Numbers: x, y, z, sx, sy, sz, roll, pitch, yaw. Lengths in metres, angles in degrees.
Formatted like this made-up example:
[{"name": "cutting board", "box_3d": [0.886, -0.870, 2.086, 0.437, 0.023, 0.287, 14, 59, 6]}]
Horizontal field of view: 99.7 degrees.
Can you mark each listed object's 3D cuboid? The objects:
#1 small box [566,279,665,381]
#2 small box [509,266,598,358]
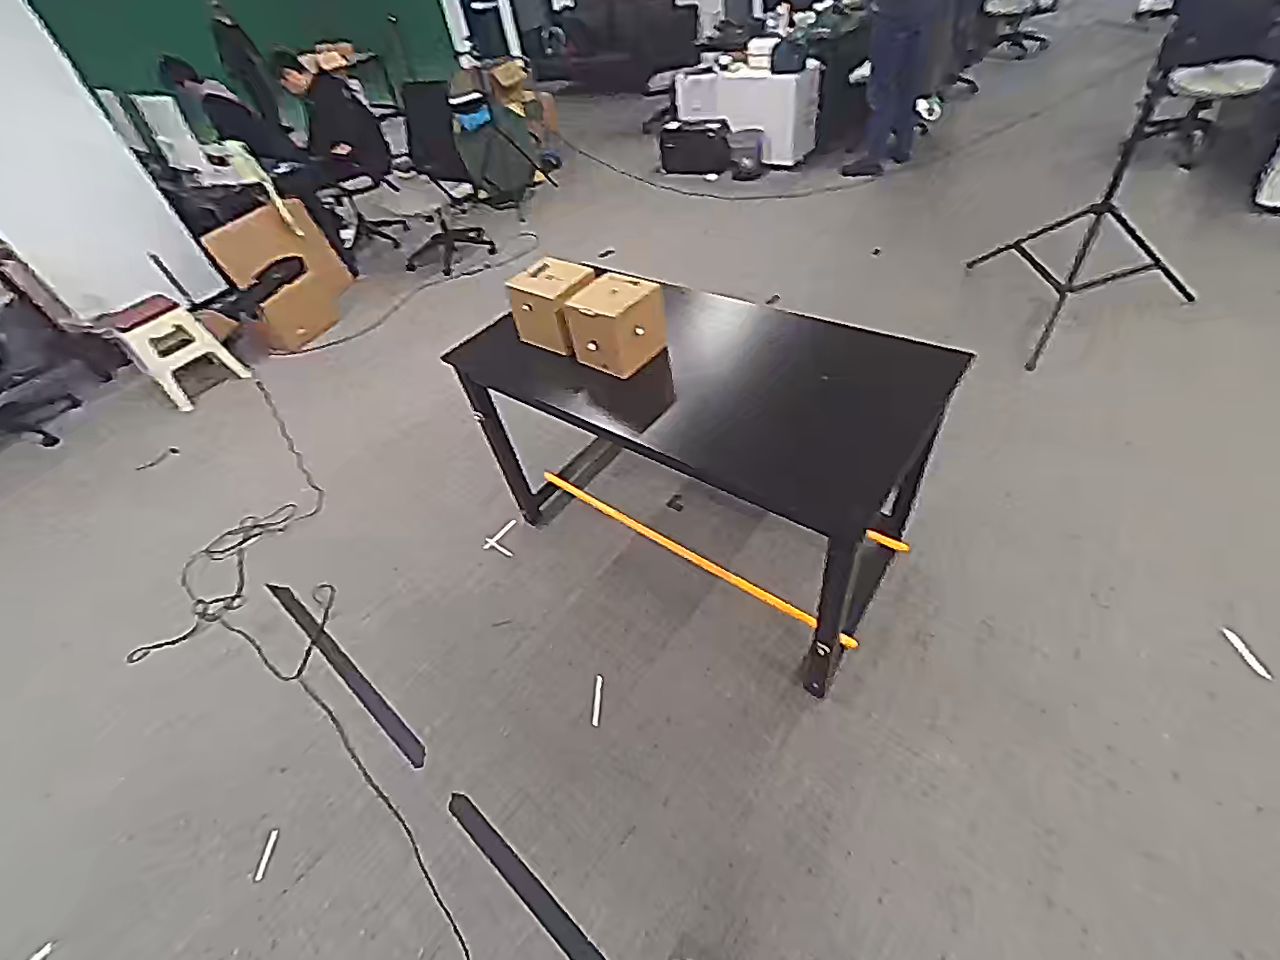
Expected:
[{"name": "small box", "box_3d": [-0.053, -0.373, 1.354, 0.168, 0.176, 0.179, 26, 57, 31]}, {"name": "small box", "box_3d": [-0.220, -0.453, 1.464, 0.179, 0.176, 0.168, 24, 55, 29]}]
